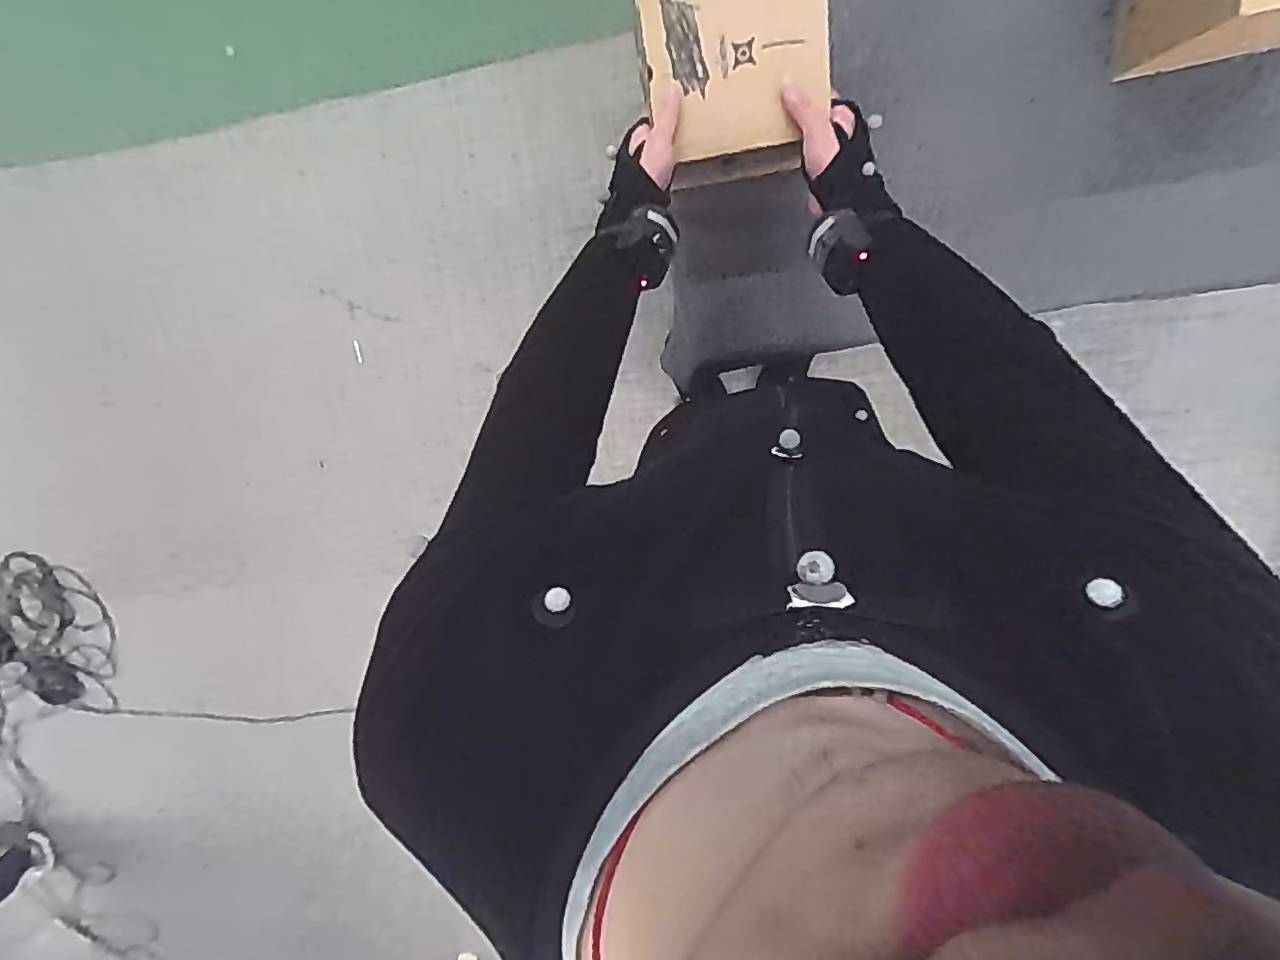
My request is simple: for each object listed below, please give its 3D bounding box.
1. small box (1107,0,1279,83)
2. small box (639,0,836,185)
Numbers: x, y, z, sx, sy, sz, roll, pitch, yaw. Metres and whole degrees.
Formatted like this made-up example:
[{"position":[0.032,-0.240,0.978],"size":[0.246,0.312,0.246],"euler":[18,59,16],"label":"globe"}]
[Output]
[{"position":[0.597,-0.507,0.504],"size":[0.179,0.176,0.168],"euler":[-7,109,10],"label":"small box"},{"position":[0.100,-0.428,0.578],"size":[0.179,0.176,0.168],"euler":[-5,111,7],"label":"small box"}]
